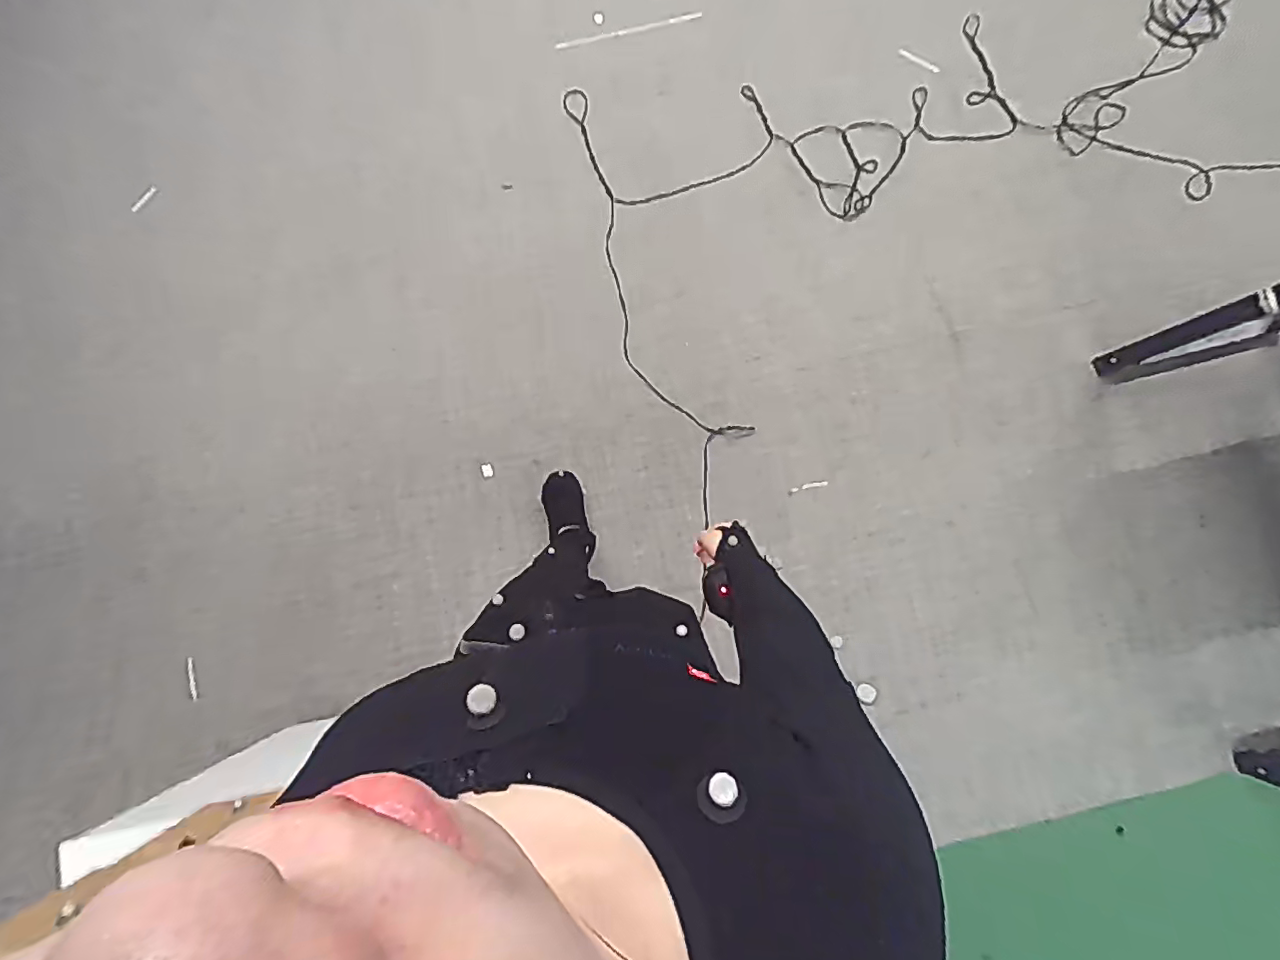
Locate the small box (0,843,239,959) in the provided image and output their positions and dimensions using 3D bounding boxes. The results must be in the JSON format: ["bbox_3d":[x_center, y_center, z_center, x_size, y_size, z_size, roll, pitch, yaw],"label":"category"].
[{"bbox_3d":[-0.595,0.550,0.613,0.179,0.176,0.168,-11,84,-1],"label":"small box"}]
